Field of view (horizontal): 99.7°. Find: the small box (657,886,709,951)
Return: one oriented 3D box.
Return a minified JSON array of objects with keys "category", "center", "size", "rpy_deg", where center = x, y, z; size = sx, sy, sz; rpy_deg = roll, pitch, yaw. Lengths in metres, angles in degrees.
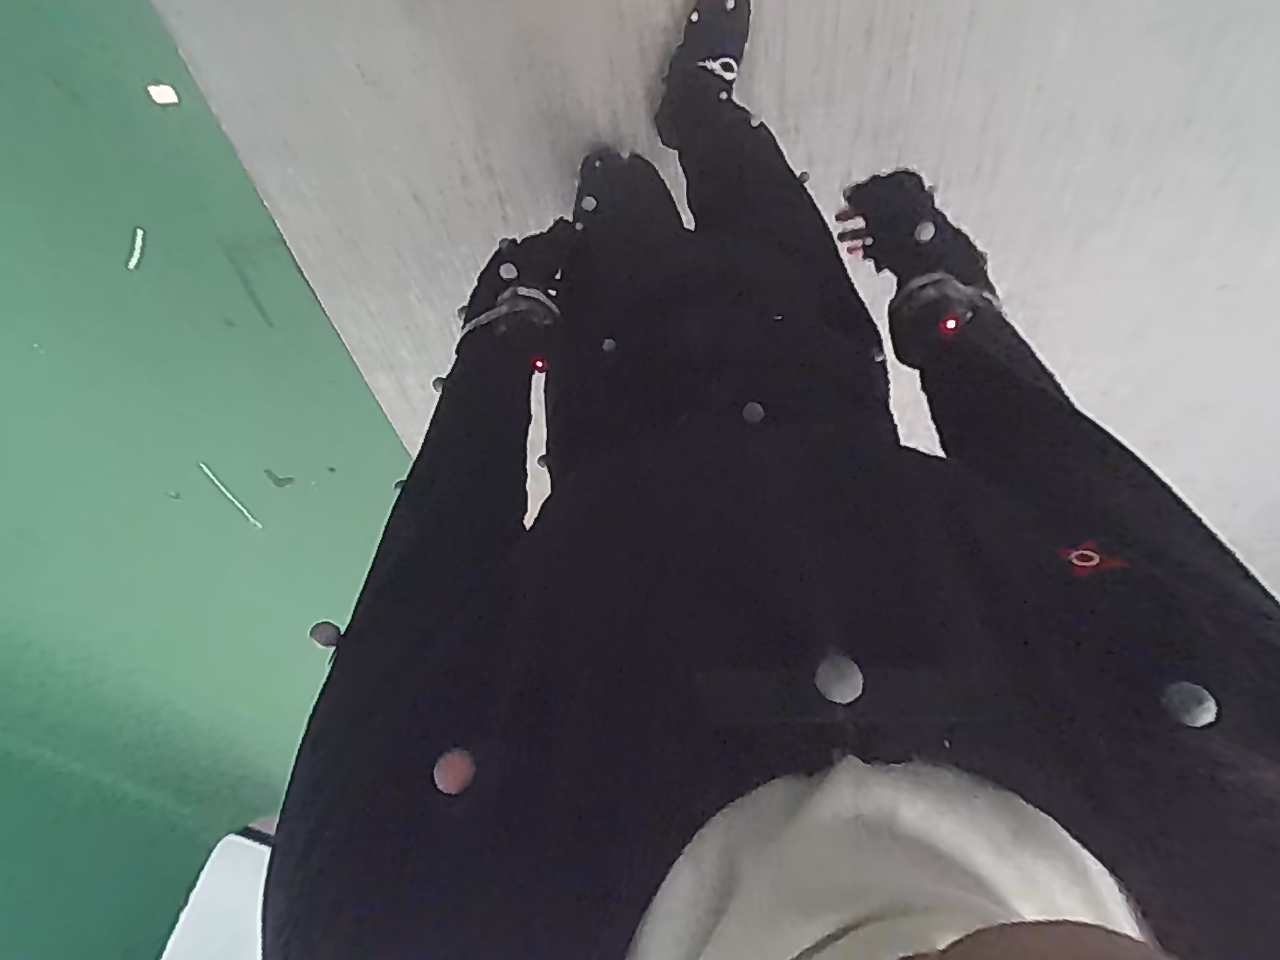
[{"category":"small box","center":[0.154,1.588,1.958],"size":[0.179,0.176,0.168],"rpy_deg":[-5,135,4]}]

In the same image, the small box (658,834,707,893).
[{"category":"small box","center":[0.164,1.476,2.080],"size":[0.168,0.176,0.179],"rpy_deg":[-7,134,7]}]
